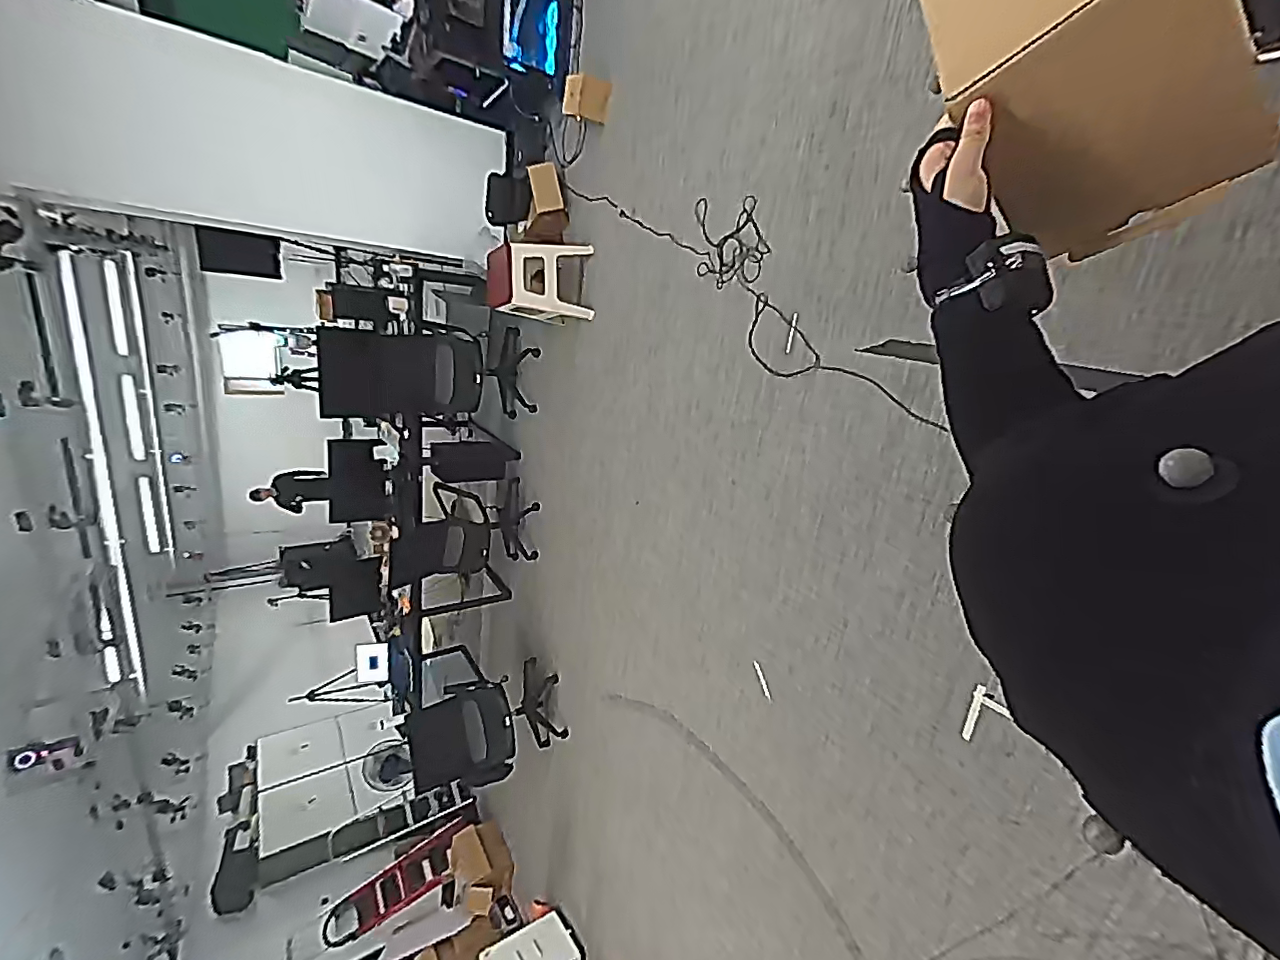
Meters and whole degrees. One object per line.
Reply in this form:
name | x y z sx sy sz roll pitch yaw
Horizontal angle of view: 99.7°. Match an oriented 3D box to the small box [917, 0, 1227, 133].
small box | 0.355 -0.433 0.458 0.168 0.176 0.179 -16 81 51
